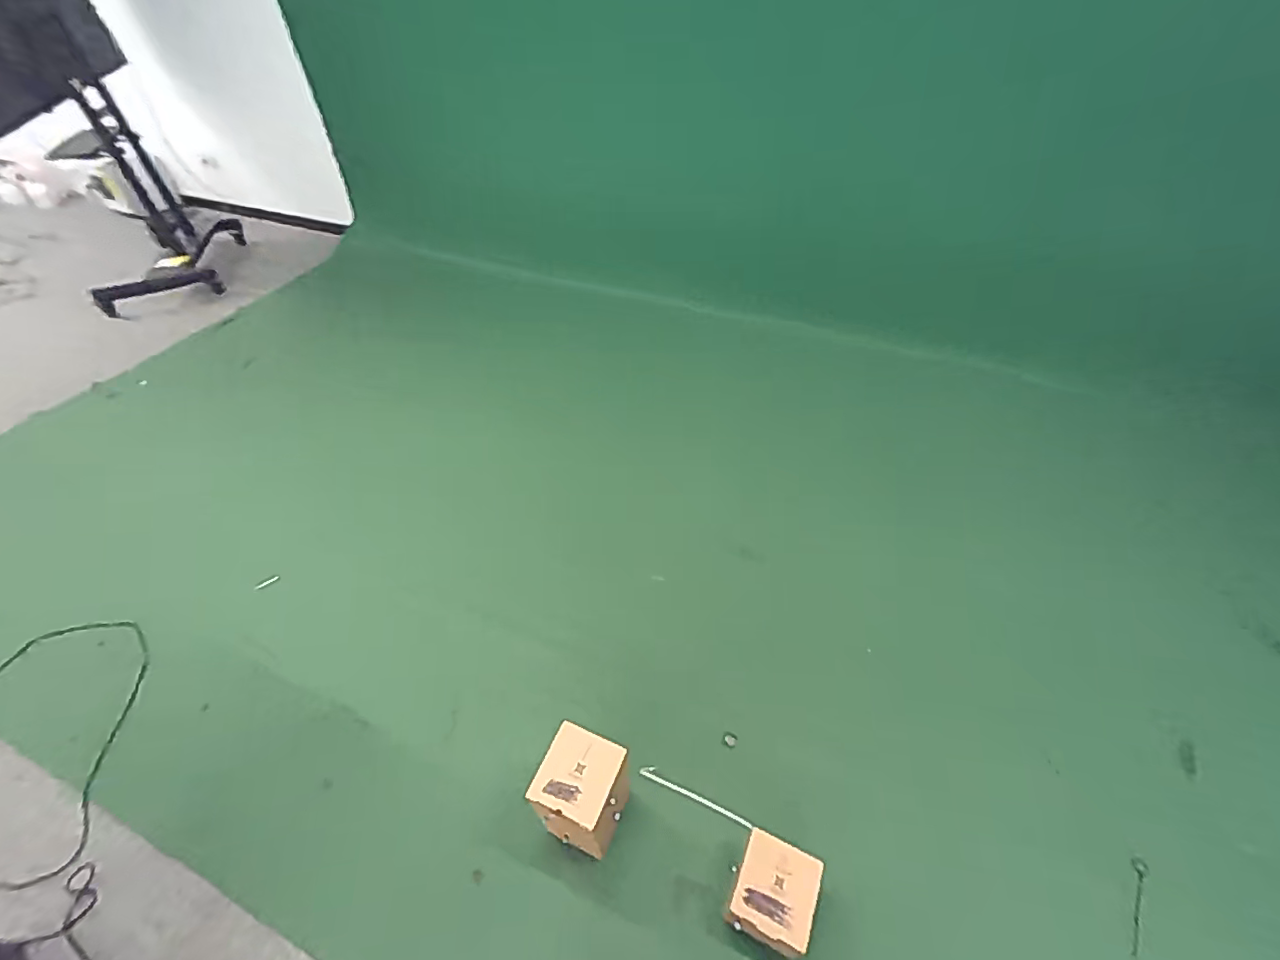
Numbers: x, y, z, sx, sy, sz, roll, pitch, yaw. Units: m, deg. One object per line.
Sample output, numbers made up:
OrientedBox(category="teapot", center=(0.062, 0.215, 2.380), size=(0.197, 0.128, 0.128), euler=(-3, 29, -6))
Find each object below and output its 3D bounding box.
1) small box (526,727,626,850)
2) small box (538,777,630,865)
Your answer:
OrientedBox(category="small box", center=(-0.135, 0.709, 1.237), size=(0.168, 0.176, 0.179), euler=(18, 49, 16))
OrientedBox(category="small box", center=(-0.134, 0.823, 1.355), size=(0.168, 0.176, 0.179), euler=(17, 49, 17))
